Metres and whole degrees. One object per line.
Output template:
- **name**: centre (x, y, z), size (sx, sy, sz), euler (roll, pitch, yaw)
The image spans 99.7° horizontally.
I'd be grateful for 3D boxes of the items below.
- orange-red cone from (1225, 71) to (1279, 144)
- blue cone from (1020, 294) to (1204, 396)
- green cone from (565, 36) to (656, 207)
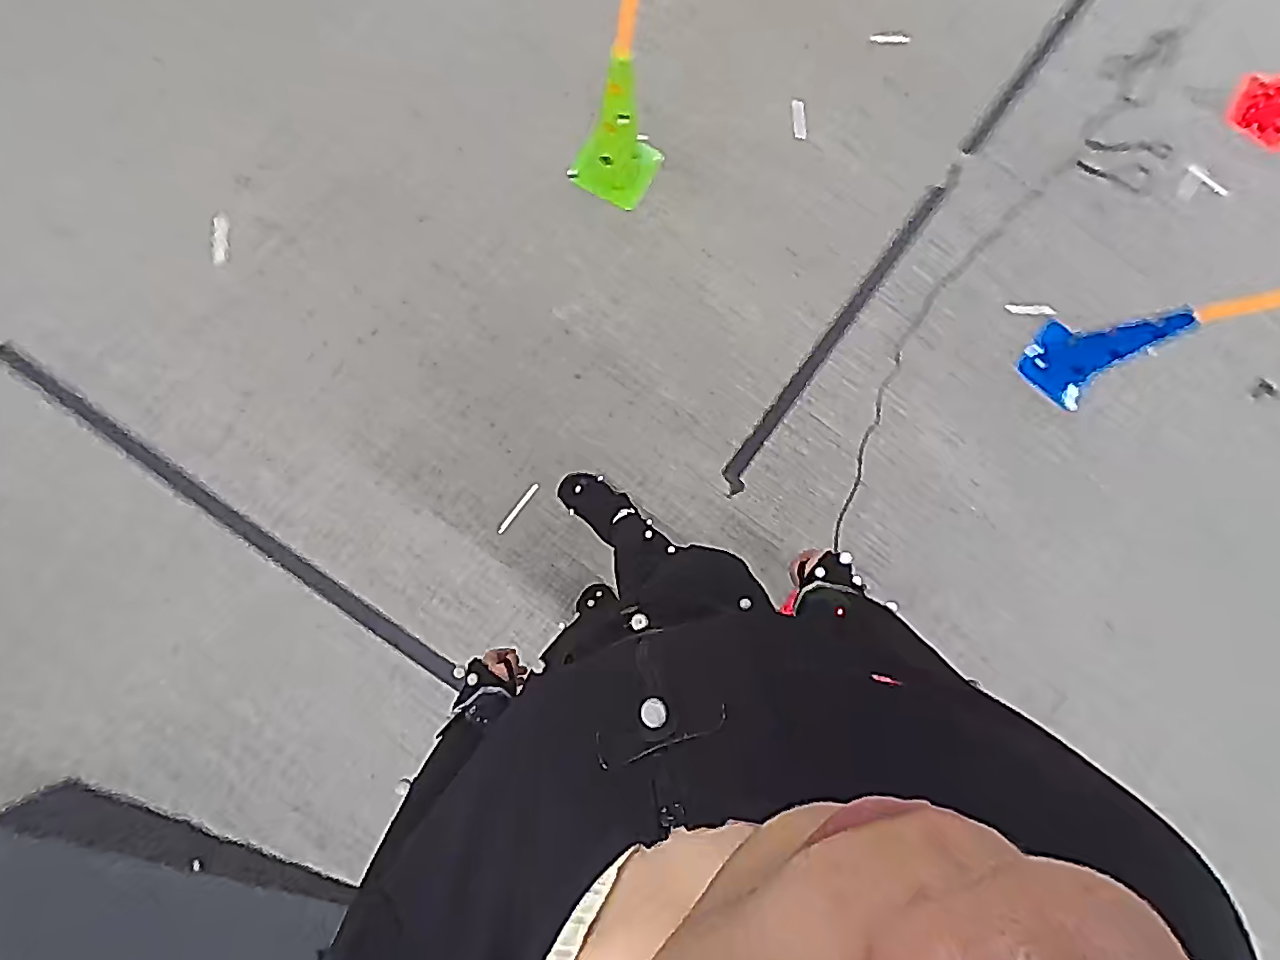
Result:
- **orange-red cone**: centre (1.947, -1.181, 1.516), size (0.199, 0.360, 0.198), euler (31, 82, 0)
- **blue cone**: centre (1.204, -0.367, 1.375), size (0.193, 0.380, 0.192), euler (39, 81, -1)
- **green cone**: centre (-0.060, -0.878, 1.299), size (0.200, 0.368, 0.202), euler (26, 80, -2)
